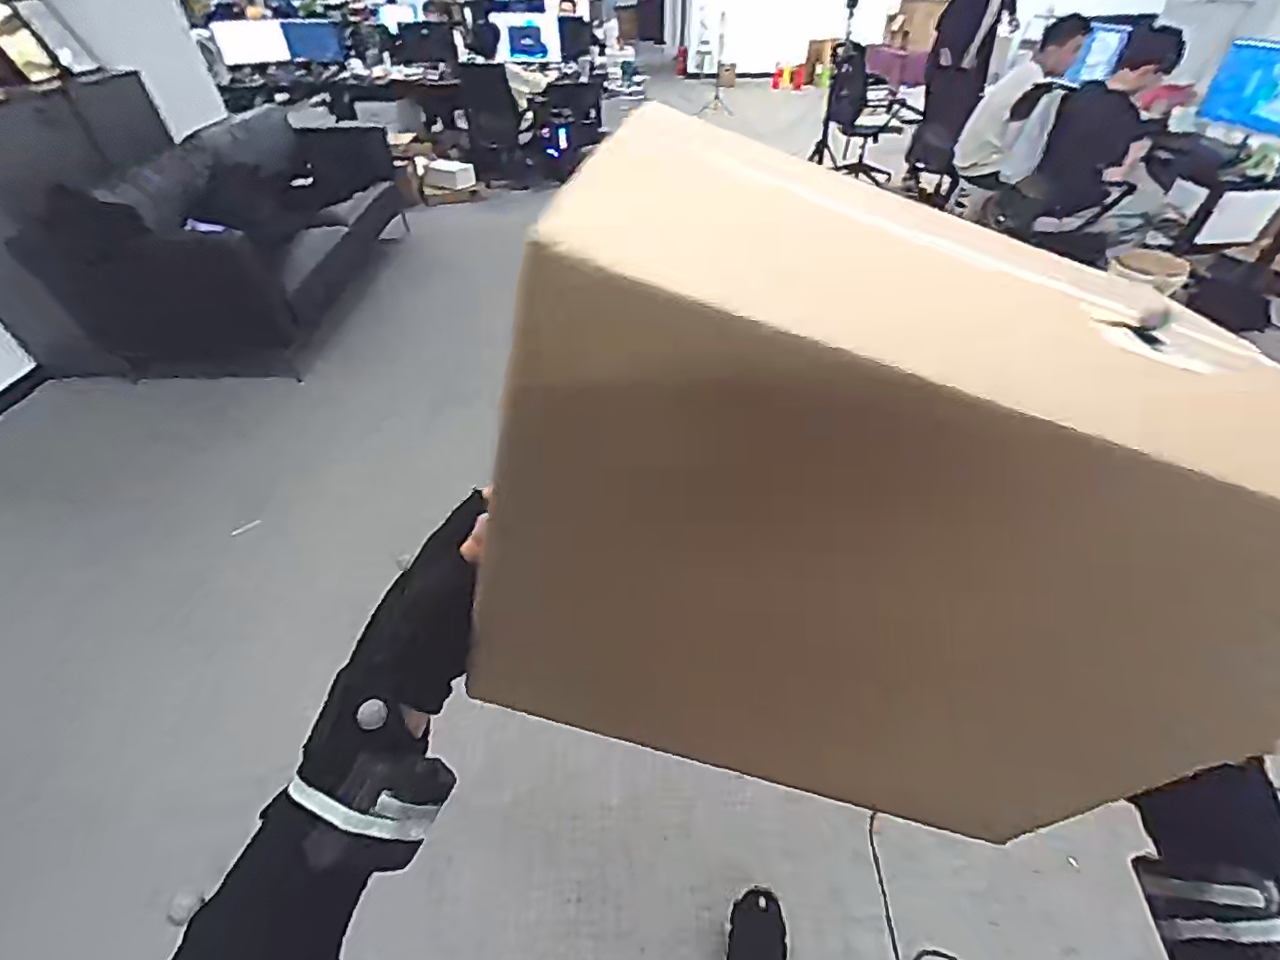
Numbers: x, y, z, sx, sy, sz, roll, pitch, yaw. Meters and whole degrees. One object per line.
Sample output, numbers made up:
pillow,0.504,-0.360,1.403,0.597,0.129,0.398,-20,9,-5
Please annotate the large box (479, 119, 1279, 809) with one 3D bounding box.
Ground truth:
large box,0.134,-0.008,0.404,0.408,0.320,0.320,18,42,-4
